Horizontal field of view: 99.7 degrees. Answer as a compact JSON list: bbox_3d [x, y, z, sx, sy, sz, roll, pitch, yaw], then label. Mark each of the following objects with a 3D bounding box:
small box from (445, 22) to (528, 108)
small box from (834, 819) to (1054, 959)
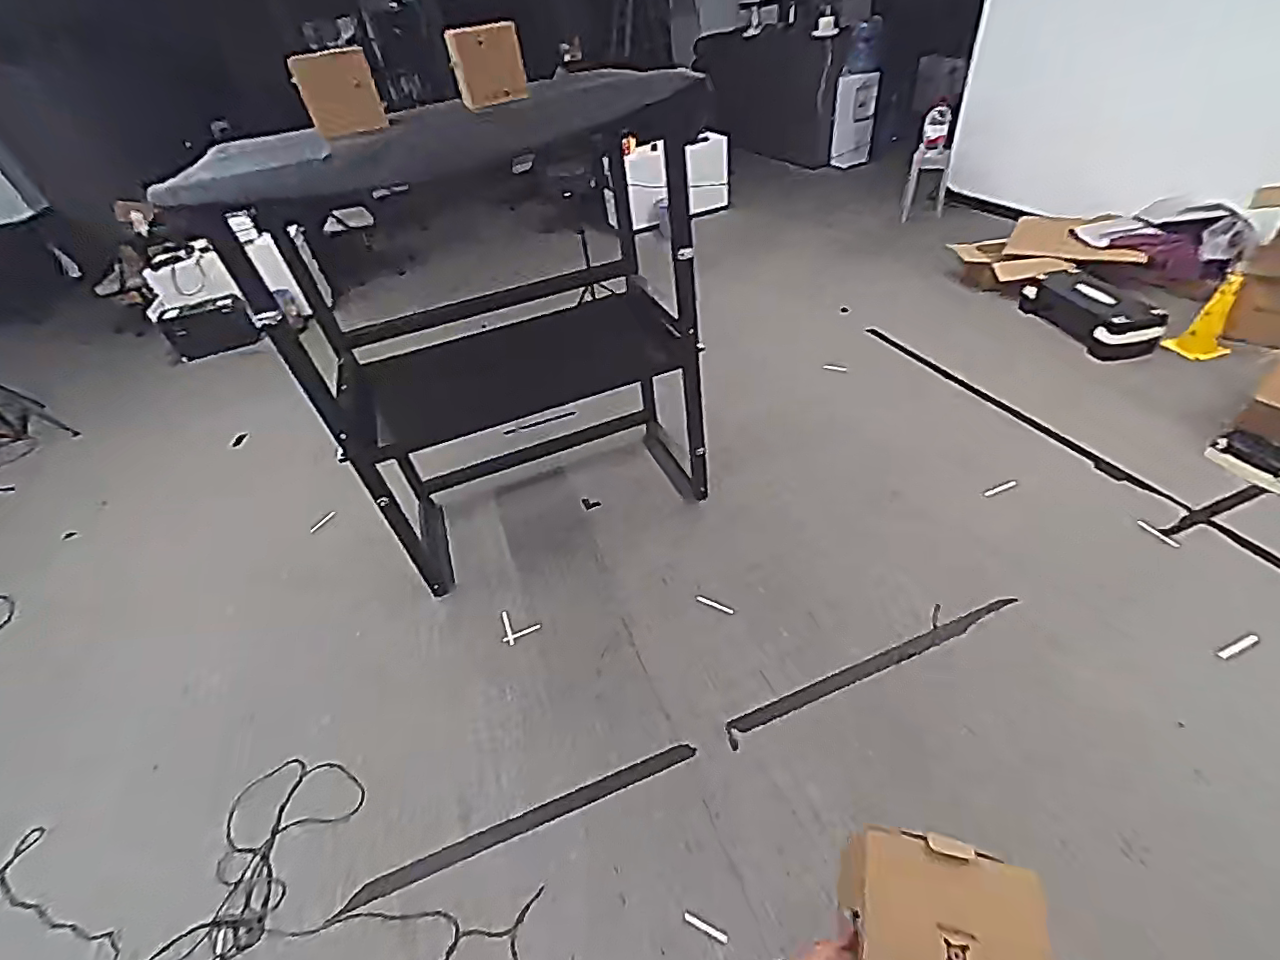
[{"bbox_3d":[-0.426,-1.149,1.502,0.168,0.176,0.179,-20,42,-12],"label":"small box"},{"bbox_3d":[0.300,0.488,0.559,0.168,0.176,0.179,8,49,14],"label":"small box"}]
